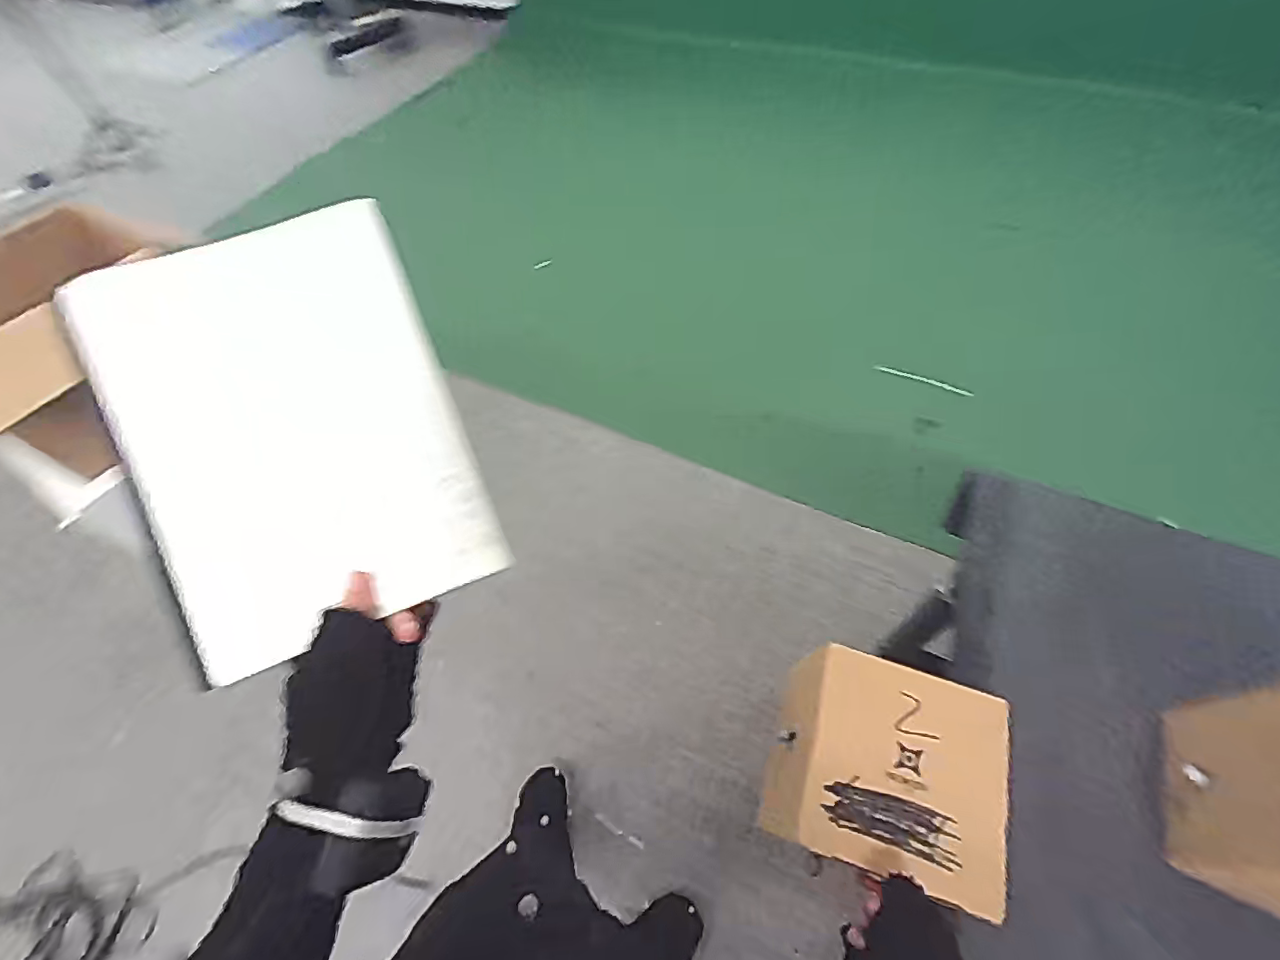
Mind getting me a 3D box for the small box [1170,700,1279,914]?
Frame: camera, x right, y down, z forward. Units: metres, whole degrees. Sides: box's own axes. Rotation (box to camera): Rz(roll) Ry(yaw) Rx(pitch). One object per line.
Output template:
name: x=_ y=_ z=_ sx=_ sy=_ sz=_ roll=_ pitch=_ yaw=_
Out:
small box: x=0.659 y=0.321 z=0.503 sx=0.179 sy=0.176 sz=0.168 roll=22 pitch=60 yaw=17
